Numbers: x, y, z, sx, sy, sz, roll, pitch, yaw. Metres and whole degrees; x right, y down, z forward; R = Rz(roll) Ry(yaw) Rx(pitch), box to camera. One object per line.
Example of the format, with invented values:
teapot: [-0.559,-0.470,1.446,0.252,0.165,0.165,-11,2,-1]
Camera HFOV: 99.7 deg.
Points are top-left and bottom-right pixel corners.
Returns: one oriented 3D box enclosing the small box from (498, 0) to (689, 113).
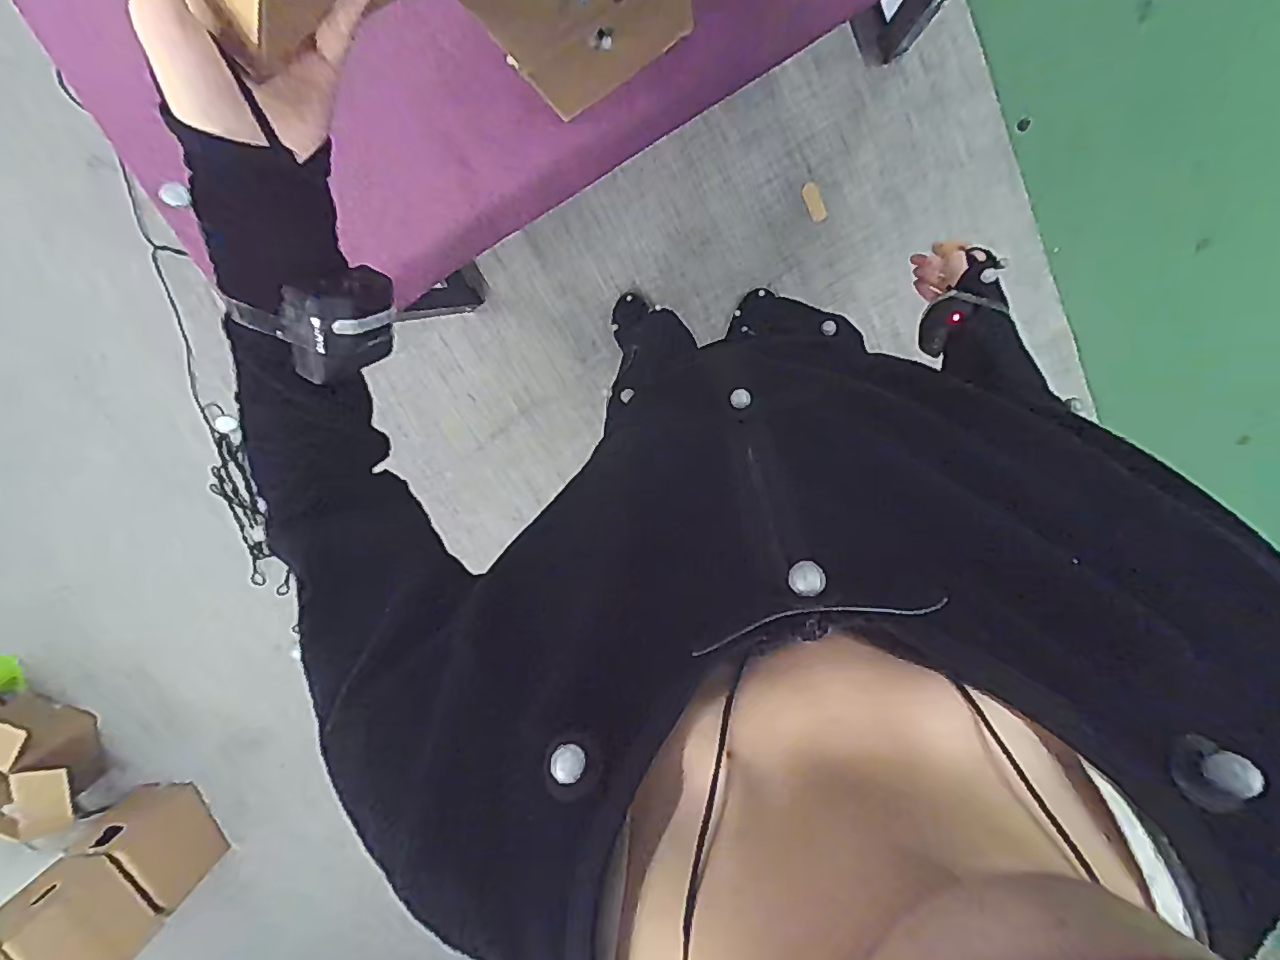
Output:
small box: [-0.064,-0.511,0.537,0.179,0.176,0.168,-24,104,16]

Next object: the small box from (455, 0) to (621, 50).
small box: [-0.080,-0.454,0.384,0.168,0.176,0.179,-21,105,16]

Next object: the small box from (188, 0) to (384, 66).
small box: [-0.160,-0.332,0.212,0.168,0.176,0.179,41,147,-23]
